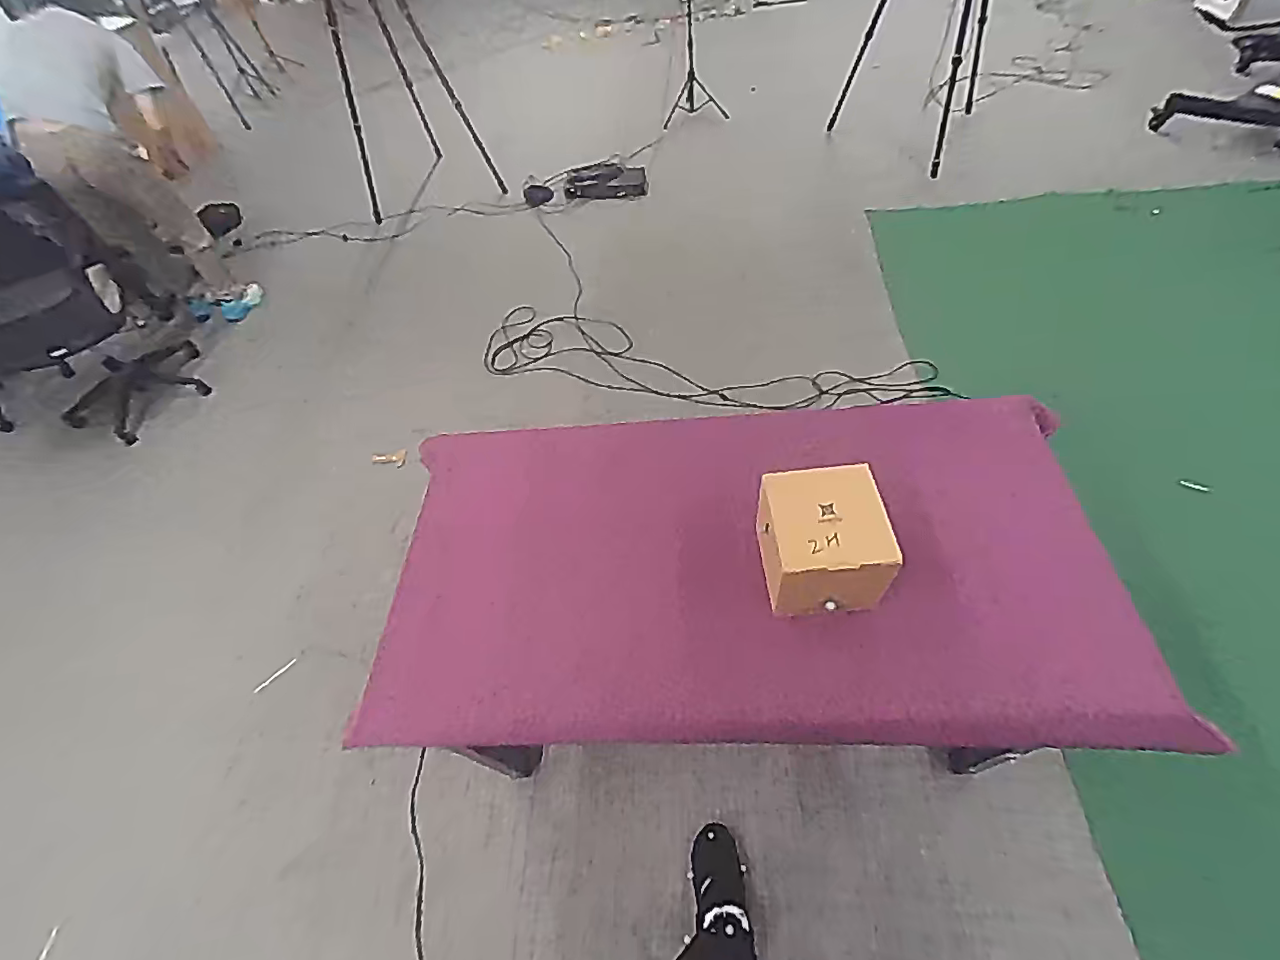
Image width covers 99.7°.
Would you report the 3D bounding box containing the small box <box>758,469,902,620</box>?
[{"bbox_3d":[0.285,0.105,0.859,0.168,0.176,0.179,-6,53,4],"label":"small box"}]
